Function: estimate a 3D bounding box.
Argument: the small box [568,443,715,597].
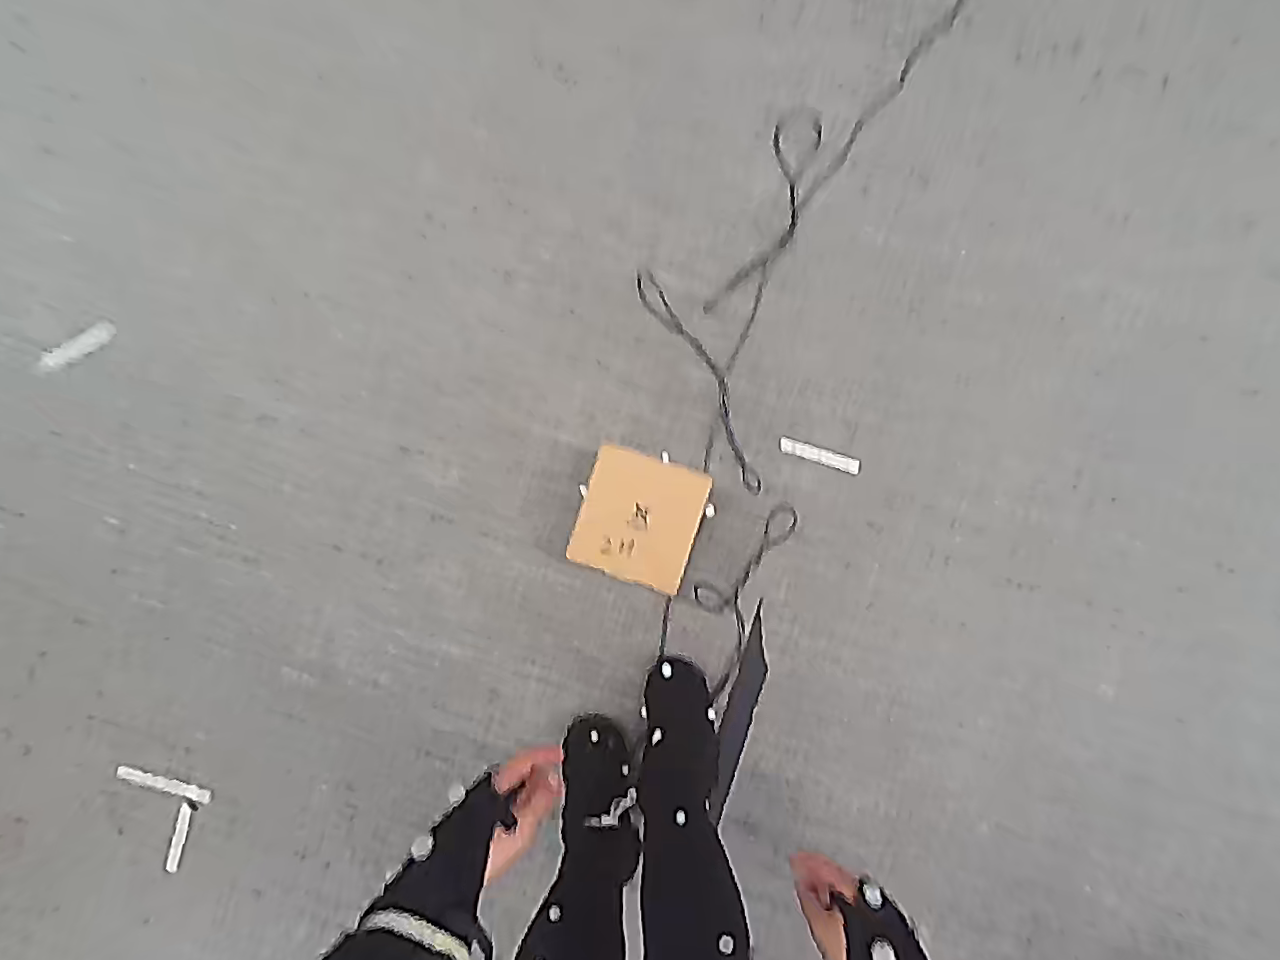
[{"bbox_3d":[0.006,0.057,0.831,0.168,0.176,0.179,18,90,5],"label":"small box"}]
